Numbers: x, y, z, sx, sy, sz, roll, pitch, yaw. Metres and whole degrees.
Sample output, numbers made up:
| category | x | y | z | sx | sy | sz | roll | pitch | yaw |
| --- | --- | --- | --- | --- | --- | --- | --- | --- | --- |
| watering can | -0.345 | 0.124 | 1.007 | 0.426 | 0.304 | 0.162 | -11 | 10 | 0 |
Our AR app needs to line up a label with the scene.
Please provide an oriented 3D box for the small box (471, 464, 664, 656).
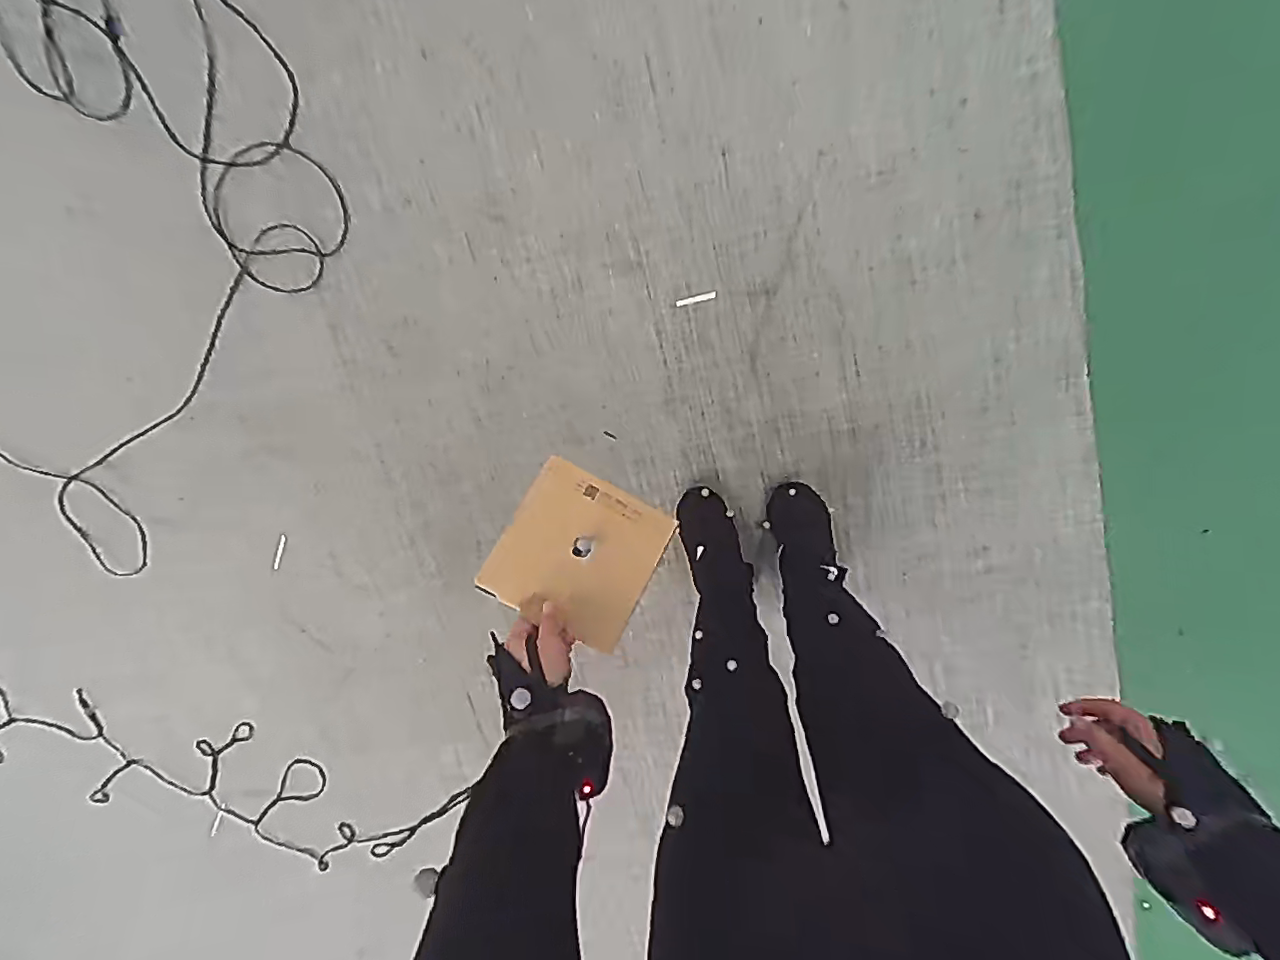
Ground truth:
| category | x | y | z | sx | sy | sz | roll | pitch | yaw |
| --- | --- | --- | --- | --- | --- | --- | --- | --- | --- |
| small box | -0.087 | 0.100 | 0.673 | 0.168 | 0.179 | 0.176 | 29 | 73 | -3 |
